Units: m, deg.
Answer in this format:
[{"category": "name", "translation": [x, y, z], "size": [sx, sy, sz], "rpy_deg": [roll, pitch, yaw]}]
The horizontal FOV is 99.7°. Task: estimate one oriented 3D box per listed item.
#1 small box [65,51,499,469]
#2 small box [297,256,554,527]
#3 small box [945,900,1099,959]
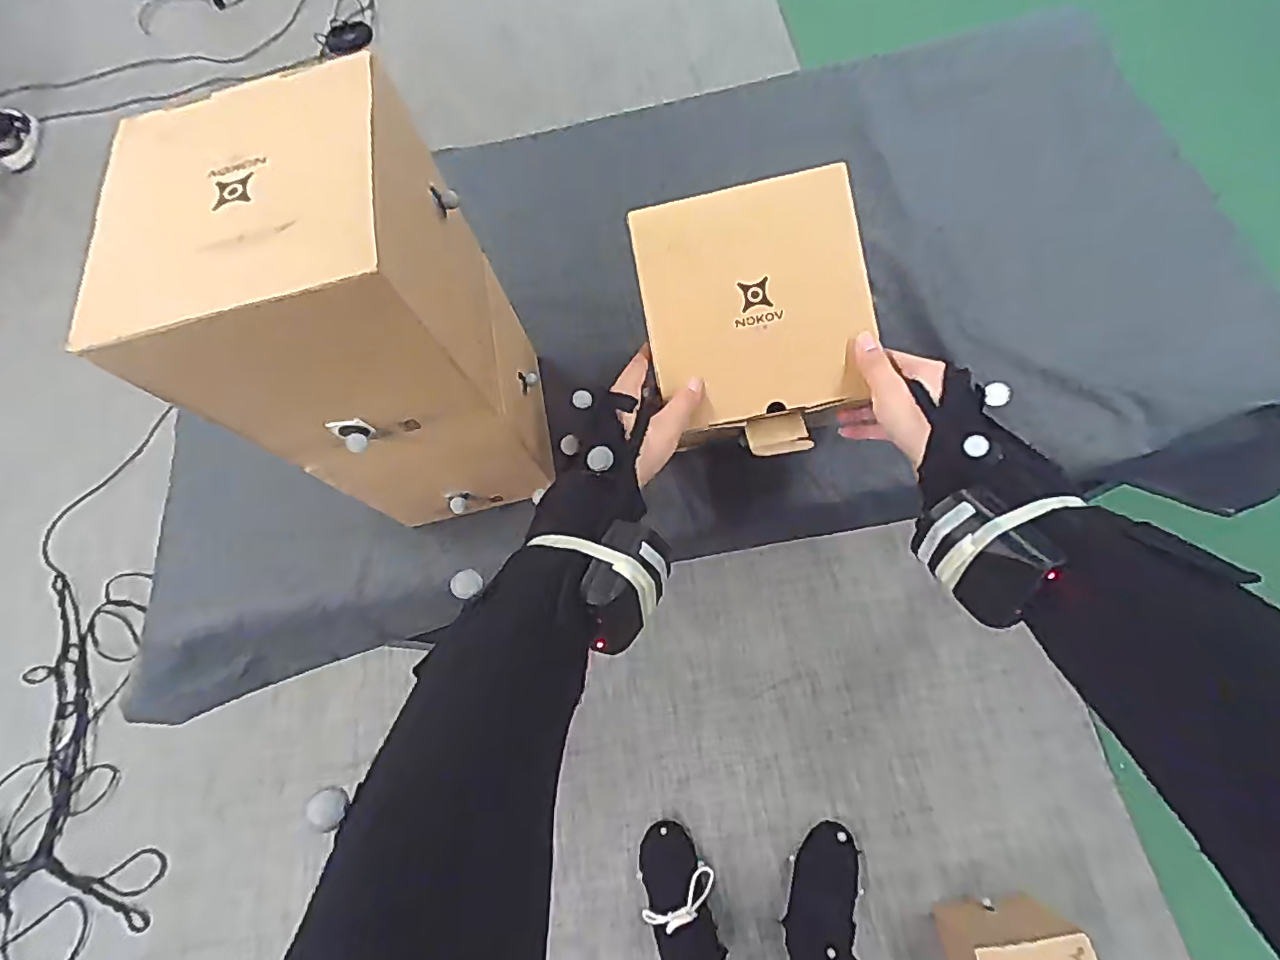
[{"category": "small box", "translation": [-0.210, -0.130, 0.367], "size": [0.168, 0.176, 0.179], "rpy_deg": [-14, 69, 3]}, {"category": "small box", "translation": [-0.191, -0.073, 0.517], "size": [0.168, 0.176, 0.179], "rpy_deg": [-14, 68, 2]}, {"category": "small box", "translation": [0.619, 0.808, 0.865], "size": [0.179, 0.176, 0.168], "rpy_deg": [-12, 68, 4]}]
